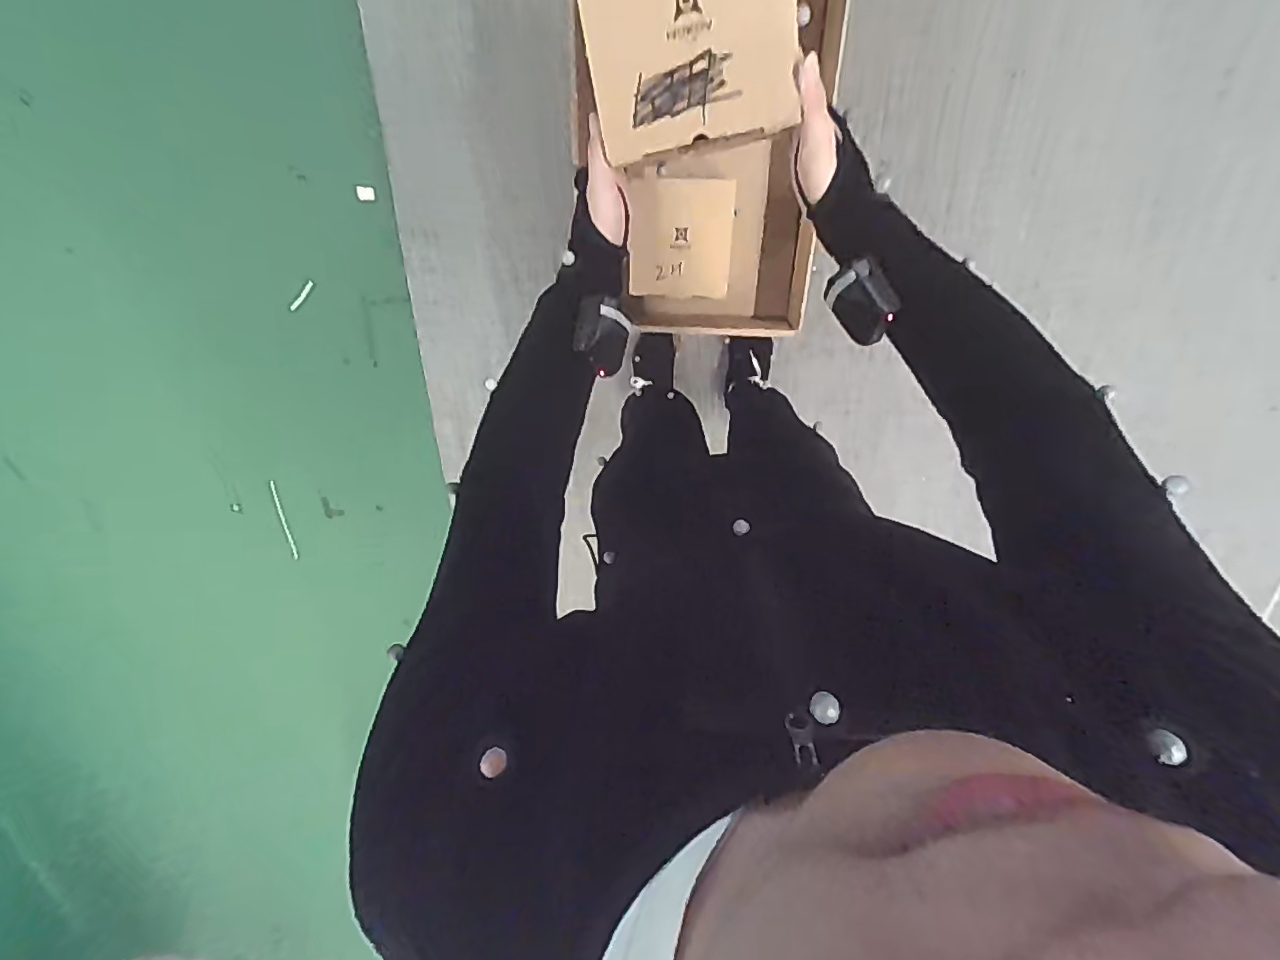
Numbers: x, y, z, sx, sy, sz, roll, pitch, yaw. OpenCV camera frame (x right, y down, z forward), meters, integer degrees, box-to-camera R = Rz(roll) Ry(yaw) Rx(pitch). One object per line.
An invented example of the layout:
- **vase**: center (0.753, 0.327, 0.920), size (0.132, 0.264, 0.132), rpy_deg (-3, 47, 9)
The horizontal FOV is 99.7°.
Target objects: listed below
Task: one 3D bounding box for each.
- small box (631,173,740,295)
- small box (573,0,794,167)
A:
- **small box**: center (0.079, -0.420, 0.935), size (0.168, 0.176, 0.179), rpy_deg (5, 114, 7)
- **small box**: center (0.044, -0.394, 0.482), size (0.168, 0.176, 0.179), rpy_deg (-6, 117, 12)
